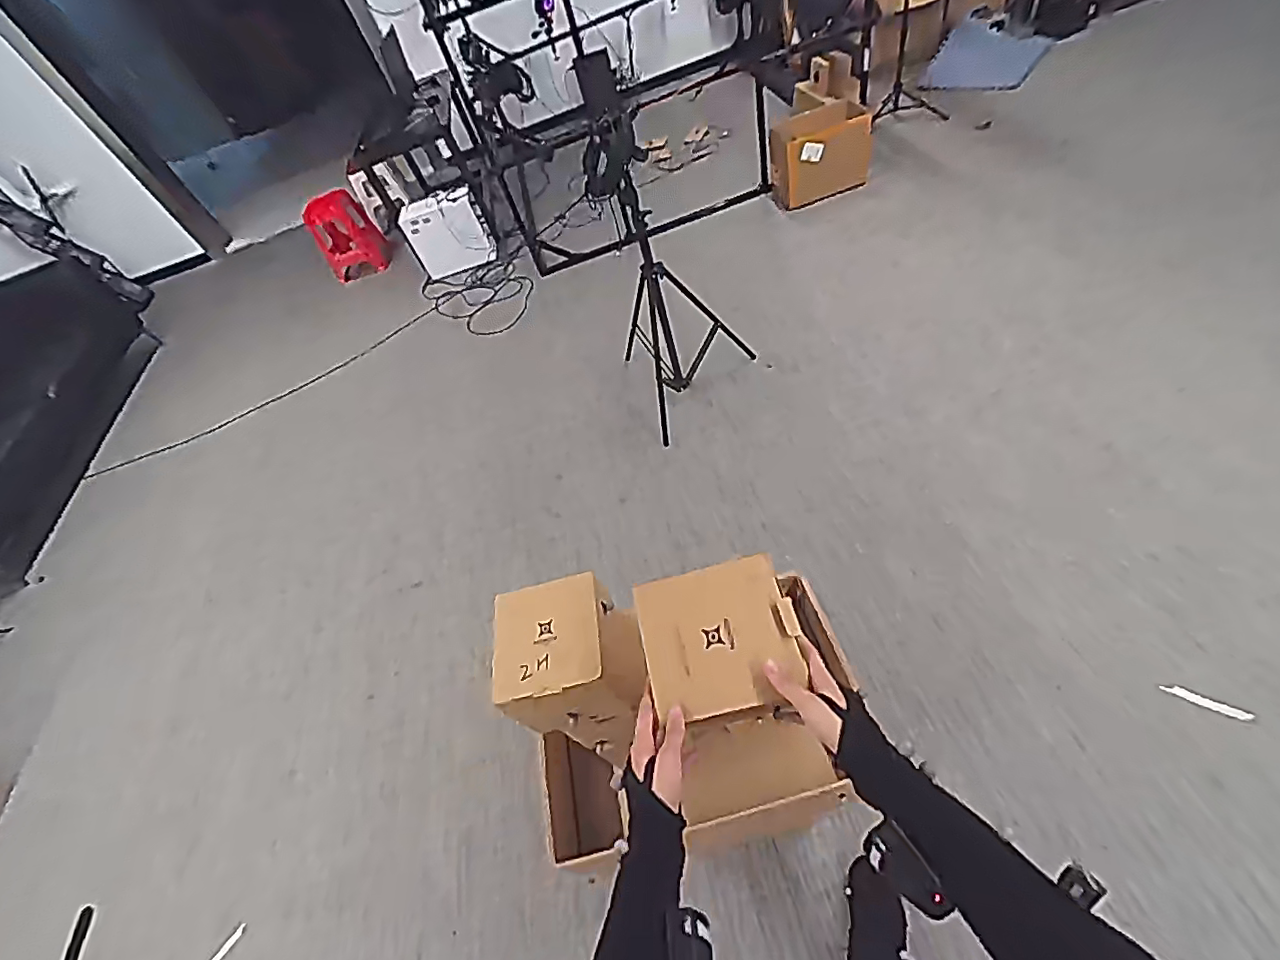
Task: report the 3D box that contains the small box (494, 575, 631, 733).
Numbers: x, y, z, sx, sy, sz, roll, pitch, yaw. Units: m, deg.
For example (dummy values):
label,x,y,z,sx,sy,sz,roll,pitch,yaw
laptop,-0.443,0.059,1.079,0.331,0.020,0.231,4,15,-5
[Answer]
label,x,y,z,sx,sy,sz,roll,pitch,yaw
small box,-0.120,0.282,0.868,0.168,0.176,0.179,-15,51,6

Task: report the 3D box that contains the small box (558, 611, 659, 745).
label,x,y,z,sx,sy,sz,roll,pitch,yaw
small box,-0.052,0.371,0.992,0.168,0.176,0.179,-15,50,5

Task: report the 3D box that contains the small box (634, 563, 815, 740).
label,x,y,z,sx,sy,sz,roll,pitch,yaw
small box,0.105,0.225,0.691,0.179,0.176,0.168,-16,61,5
